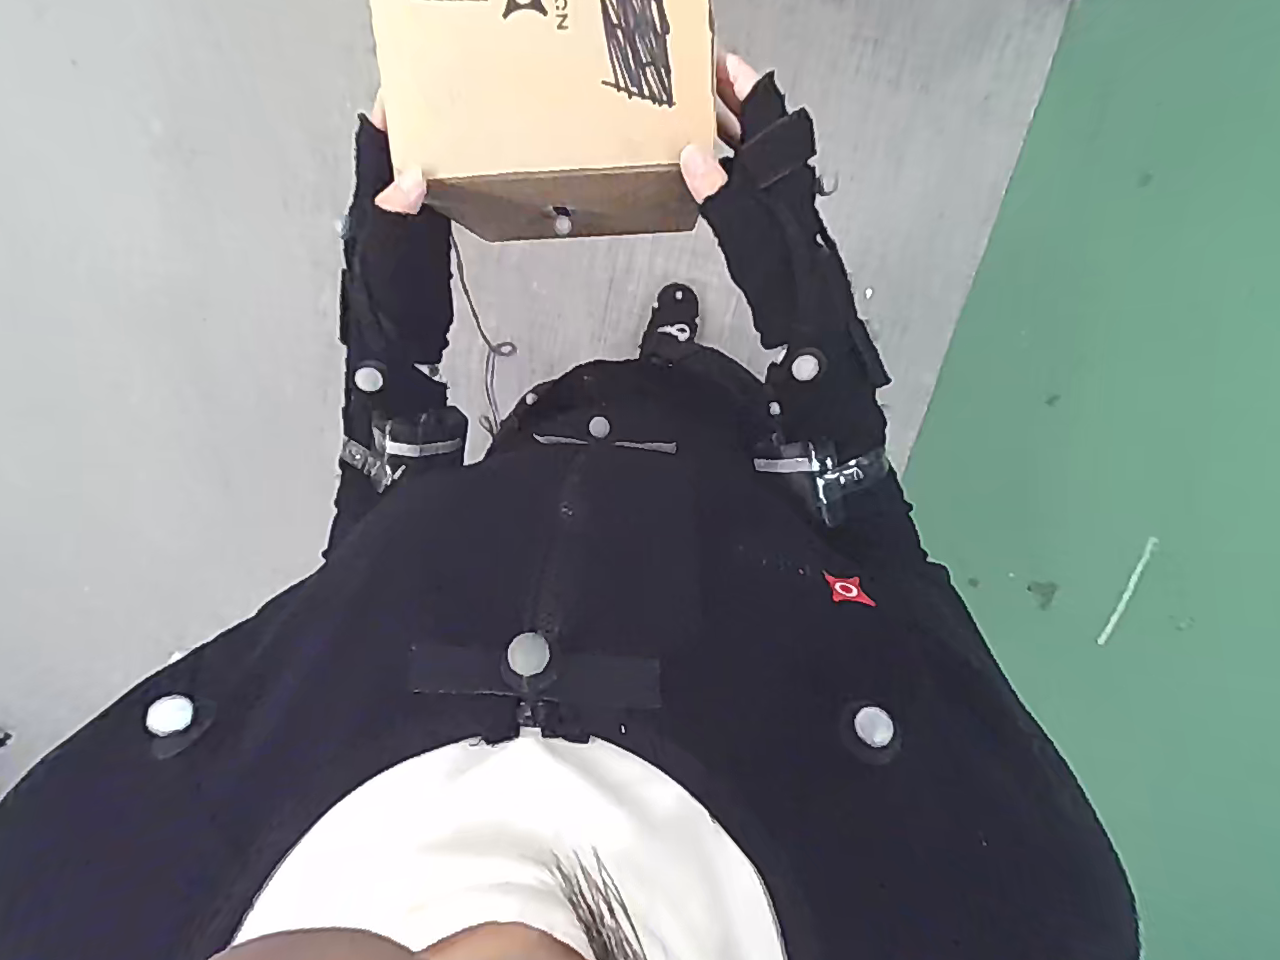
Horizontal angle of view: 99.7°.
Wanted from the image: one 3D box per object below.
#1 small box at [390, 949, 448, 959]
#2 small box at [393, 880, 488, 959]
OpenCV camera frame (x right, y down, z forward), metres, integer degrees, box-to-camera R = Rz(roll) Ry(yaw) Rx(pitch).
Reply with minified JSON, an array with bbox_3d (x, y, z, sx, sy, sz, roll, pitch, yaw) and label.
[{"bbox_3d":[-0.498,1.177,1.175,0.168,0.176,0.179,9,102,1],"label":"small box"},{"bbox_3d":[-0.487,1.134,1.332,0.179,0.176,0.168,9,103,2],"label":"small box"}]
